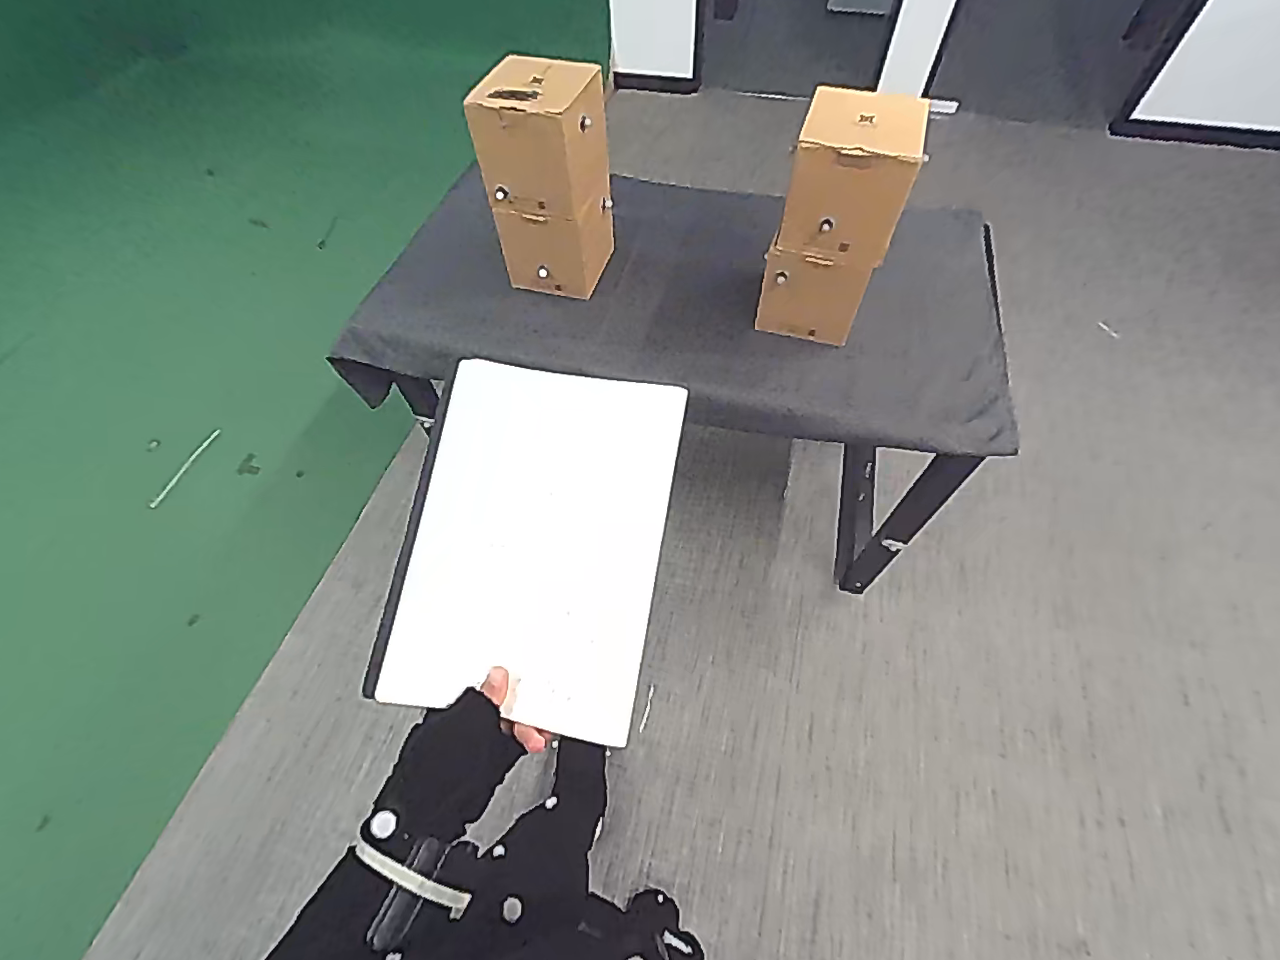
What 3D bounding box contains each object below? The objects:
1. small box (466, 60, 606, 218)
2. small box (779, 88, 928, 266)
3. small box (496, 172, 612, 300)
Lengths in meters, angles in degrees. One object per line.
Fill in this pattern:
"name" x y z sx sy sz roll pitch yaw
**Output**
"small box" -0.162 -0.574 0.918 0.168 0.176 0.179 14 58 10
"small box" 0.323 -0.466 0.838 0.168 0.176 0.179 15 59 11
"small box" -0.156 -0.483 1.055 0.168 0.176 0.179 12 59 10
